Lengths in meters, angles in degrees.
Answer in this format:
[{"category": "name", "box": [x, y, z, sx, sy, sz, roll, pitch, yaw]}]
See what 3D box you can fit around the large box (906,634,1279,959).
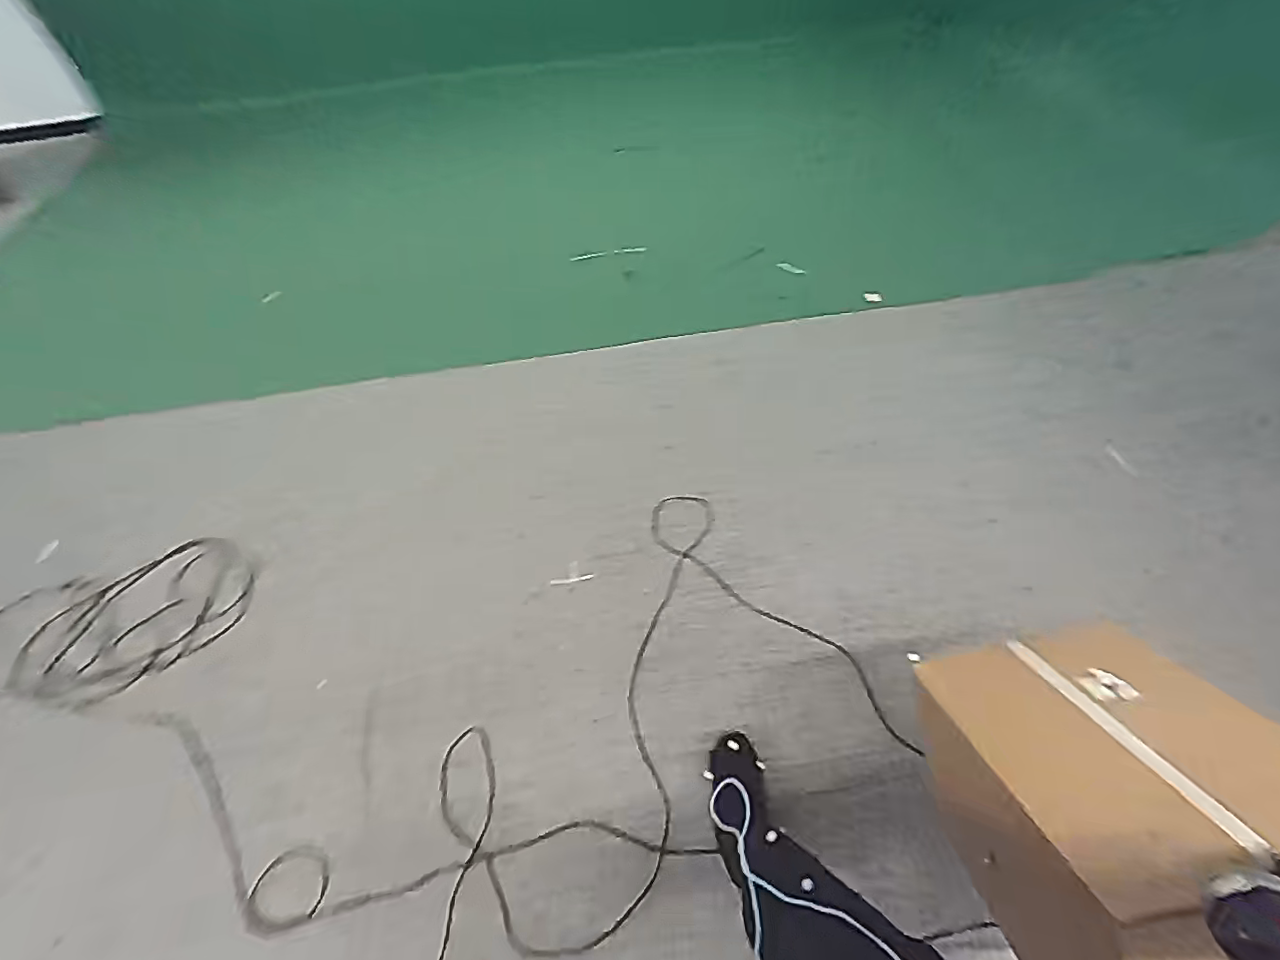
[{"category": "large box", "box": [0.619, 0.468, 0.714, 0.320, 0.320, 0.408, -13, 12, 4]}]
